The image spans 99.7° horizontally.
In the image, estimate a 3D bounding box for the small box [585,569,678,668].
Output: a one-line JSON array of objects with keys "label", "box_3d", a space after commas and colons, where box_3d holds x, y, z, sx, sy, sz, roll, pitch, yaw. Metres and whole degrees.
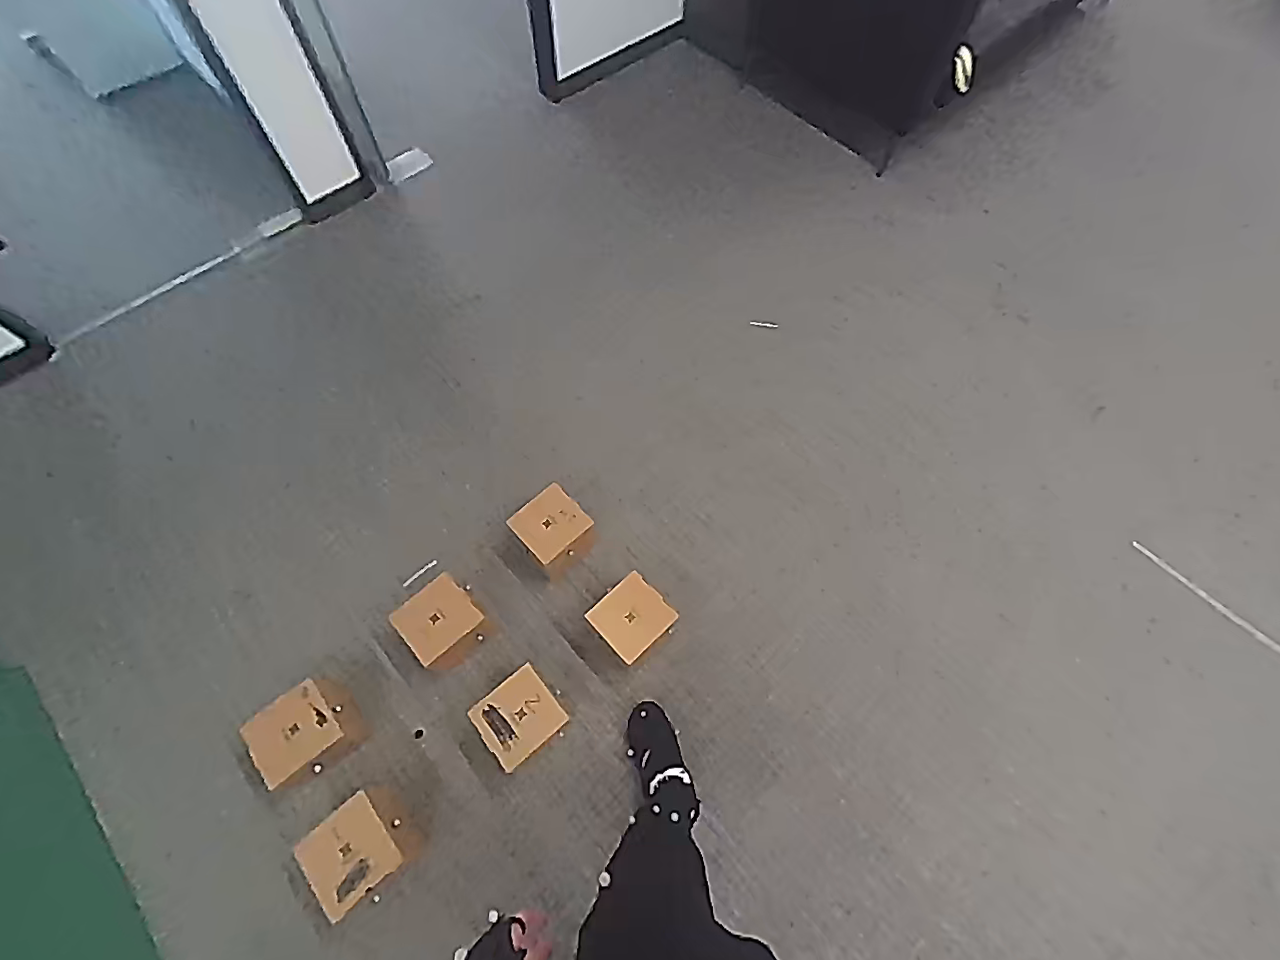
[{"label": "small box", "box_3d": [-0.022, 0.367, 1.408, 0.179, 0.176, 0.168, -40, 72, -19]}]

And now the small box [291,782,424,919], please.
[{"label": "small box", "box_3d": [-0.607, 0.793, 1.184, 0.168, 0.176, 0.179, -37, 71, -18]}]

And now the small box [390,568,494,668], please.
[{"label": "small box", "box_3d": [-0.497, 0.360, 1.392, 0.179, 0.176, 0.168, -39, 71, -17]}]

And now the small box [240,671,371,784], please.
[{"label": "small box", "box_3d": [-0.780, 0.581, 1.277, 0.179, 0.176, 0.168, -36, 71, -16]}]

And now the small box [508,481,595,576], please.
[{"label": "small box", "box_3d": [-0.237, 0.141, 1.502, 0.179, 0.176, 0.168, -40, 73, -19]}]
